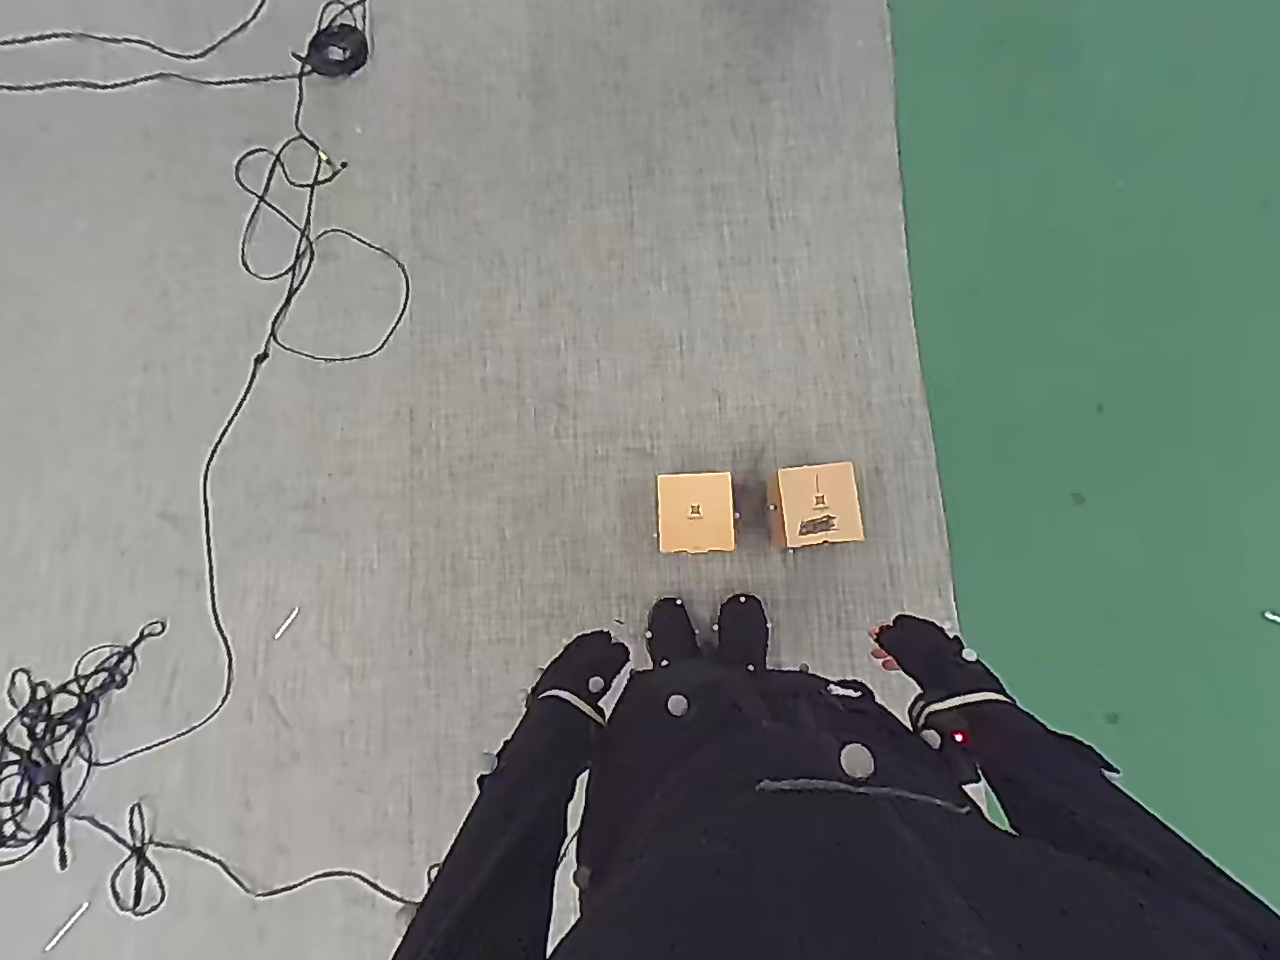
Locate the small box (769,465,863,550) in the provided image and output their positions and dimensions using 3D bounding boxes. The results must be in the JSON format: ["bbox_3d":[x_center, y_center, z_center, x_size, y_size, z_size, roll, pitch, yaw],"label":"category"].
[{"bbox_3d":[0.398,0.070,1.249,0.168,0.176,0.179,-5,81,4],"label":"small box"}]

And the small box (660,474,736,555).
[{"bbox_3d":[0.131,0.086,1.270,0.168,0.176,0.179,-2,82,4],"label":"small box"}]
